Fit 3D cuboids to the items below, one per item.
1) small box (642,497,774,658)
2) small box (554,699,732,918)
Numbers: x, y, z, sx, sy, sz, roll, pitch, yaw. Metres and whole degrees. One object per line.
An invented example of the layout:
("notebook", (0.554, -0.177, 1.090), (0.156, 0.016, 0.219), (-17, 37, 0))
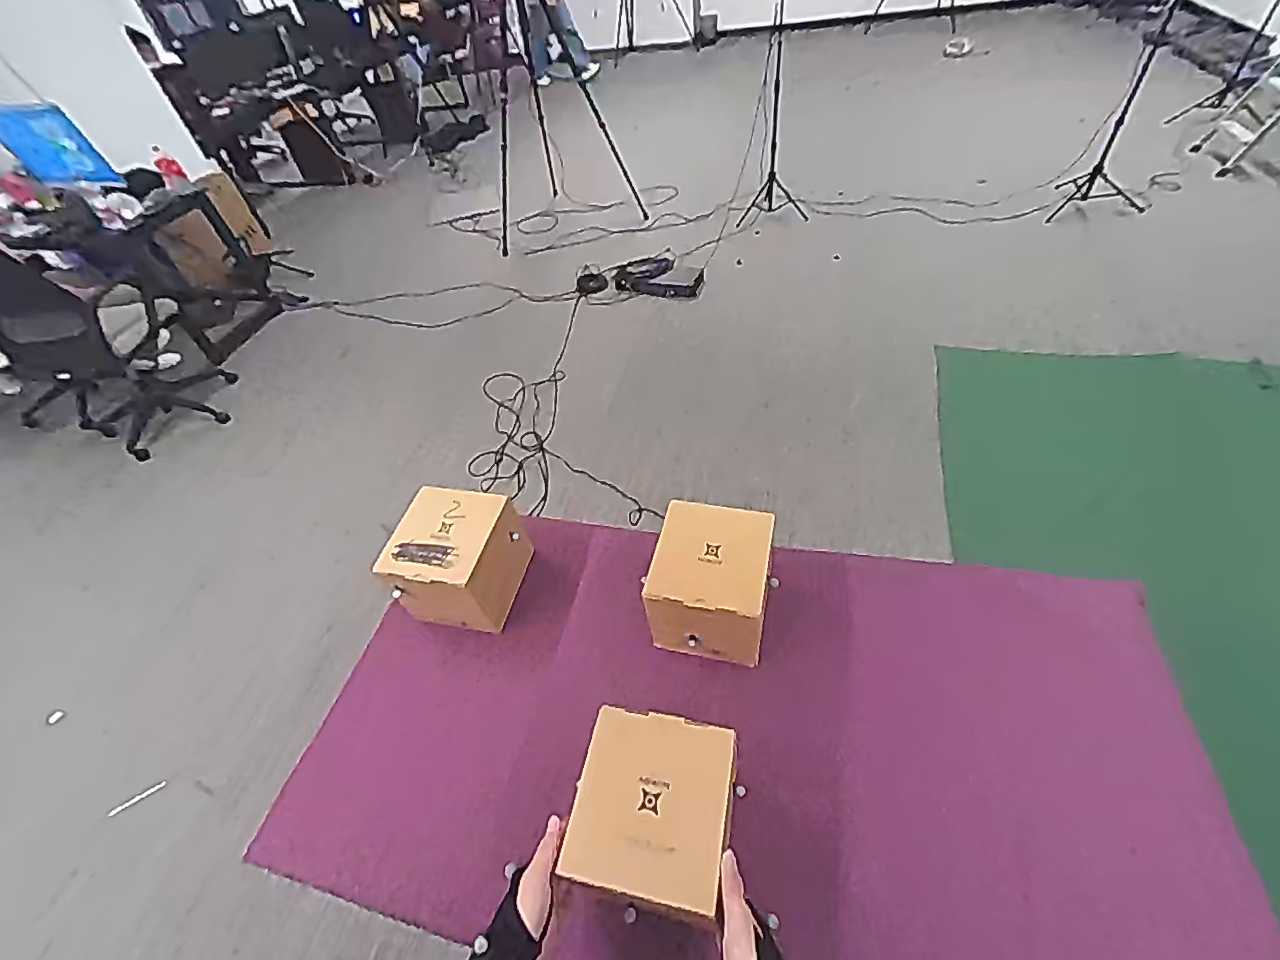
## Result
("small box", (0.112, 0.154, 0.853), (0.168, 0.176, 0.179), (7, 53, 16))
("small box", (0.018, 0.397, 0.656), (0.168, 0.176, 0.179), (5, 49, 16))
